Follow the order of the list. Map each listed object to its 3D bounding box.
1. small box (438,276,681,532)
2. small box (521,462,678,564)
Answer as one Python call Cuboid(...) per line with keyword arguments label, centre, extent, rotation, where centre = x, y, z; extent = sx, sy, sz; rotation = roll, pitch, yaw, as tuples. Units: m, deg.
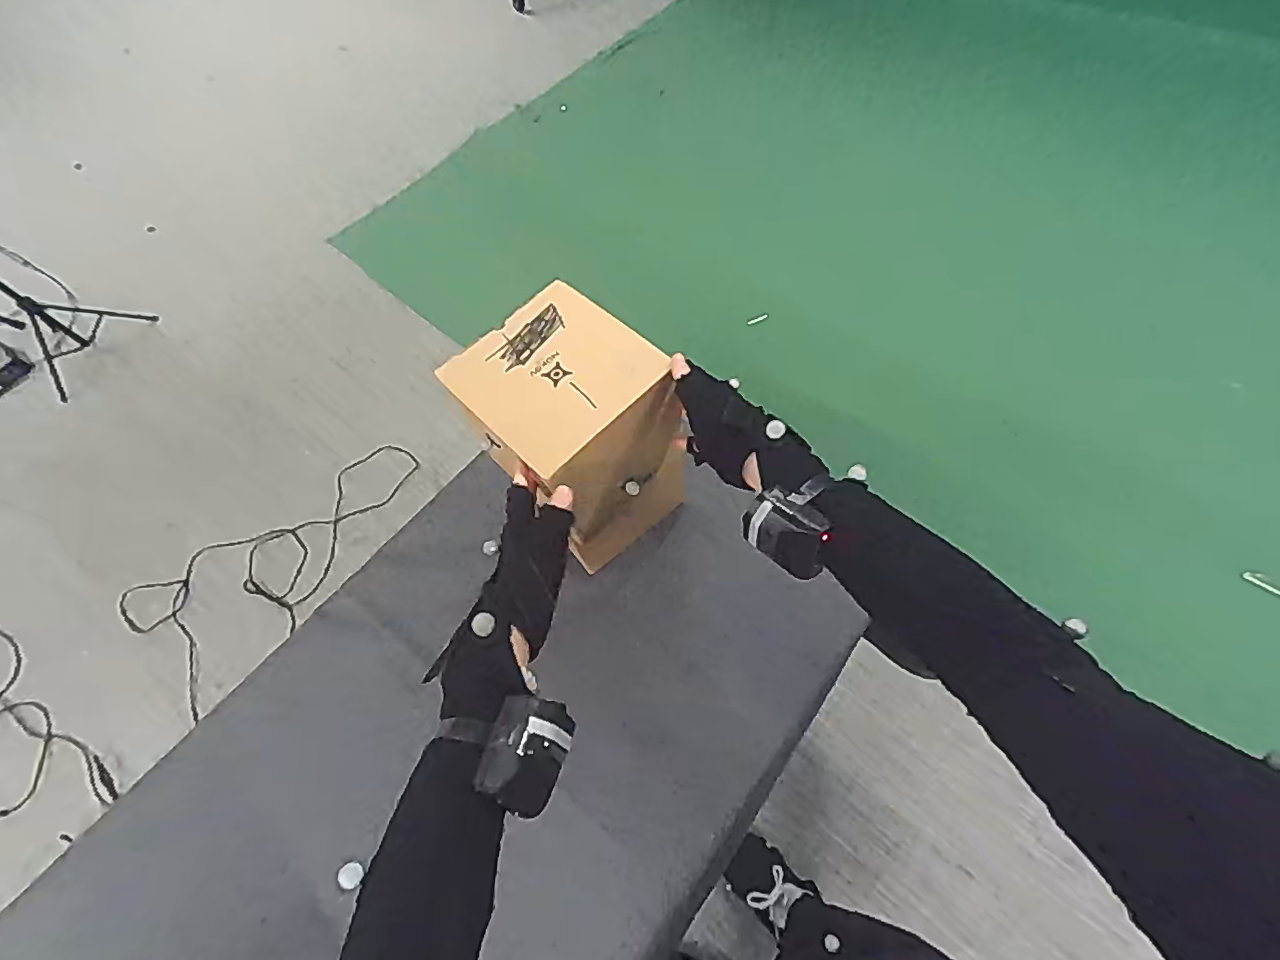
Cuboid(label="small box", centre=(-0.073, -0.073, 0.578), extent=(0.168, 0.176, 0.179), rotation=(-43, 67, -14))
Cuboid(label="small box", centre=(-0.061, -0.014, 0.732), extent=(0.179, 0.176, 0.168), rotation=(-37, 65, -12))
